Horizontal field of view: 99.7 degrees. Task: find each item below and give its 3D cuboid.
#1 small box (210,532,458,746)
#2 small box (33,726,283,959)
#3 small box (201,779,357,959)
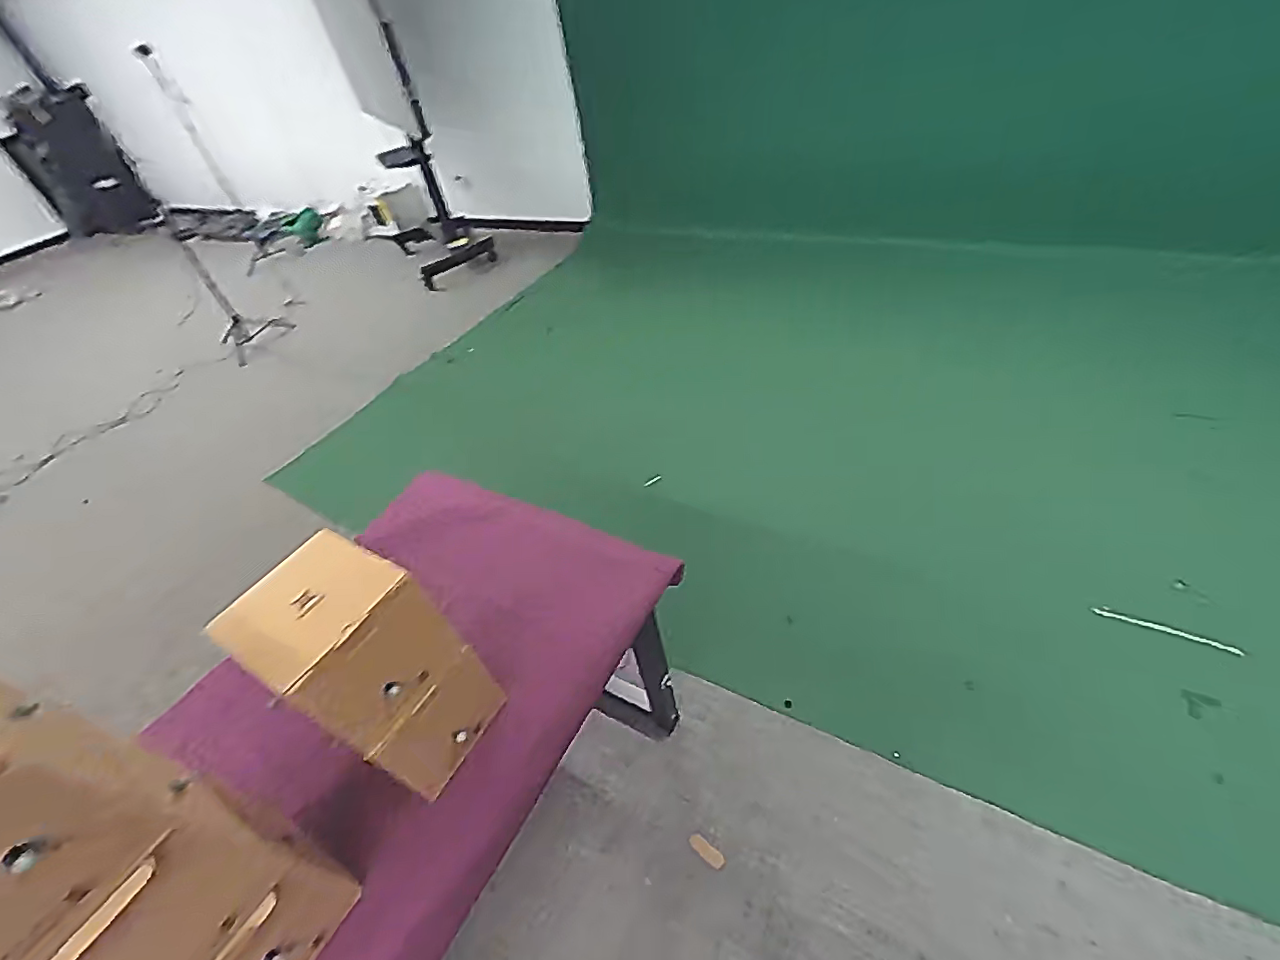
[{"bbox_3d":[-0.367,0.198,0.676,0.179,0.176,0.168,17,50,27],"label":"small box"},{"bbox_3d":[-0.494,0.377,0.514,0.179,0.176,0.168,16,50,28],"label":"small box"},{"bbox_3d":[-0.476,0.494,0.629,0.179,0.176,0.168,17,50,26],"label":"small box"}]
